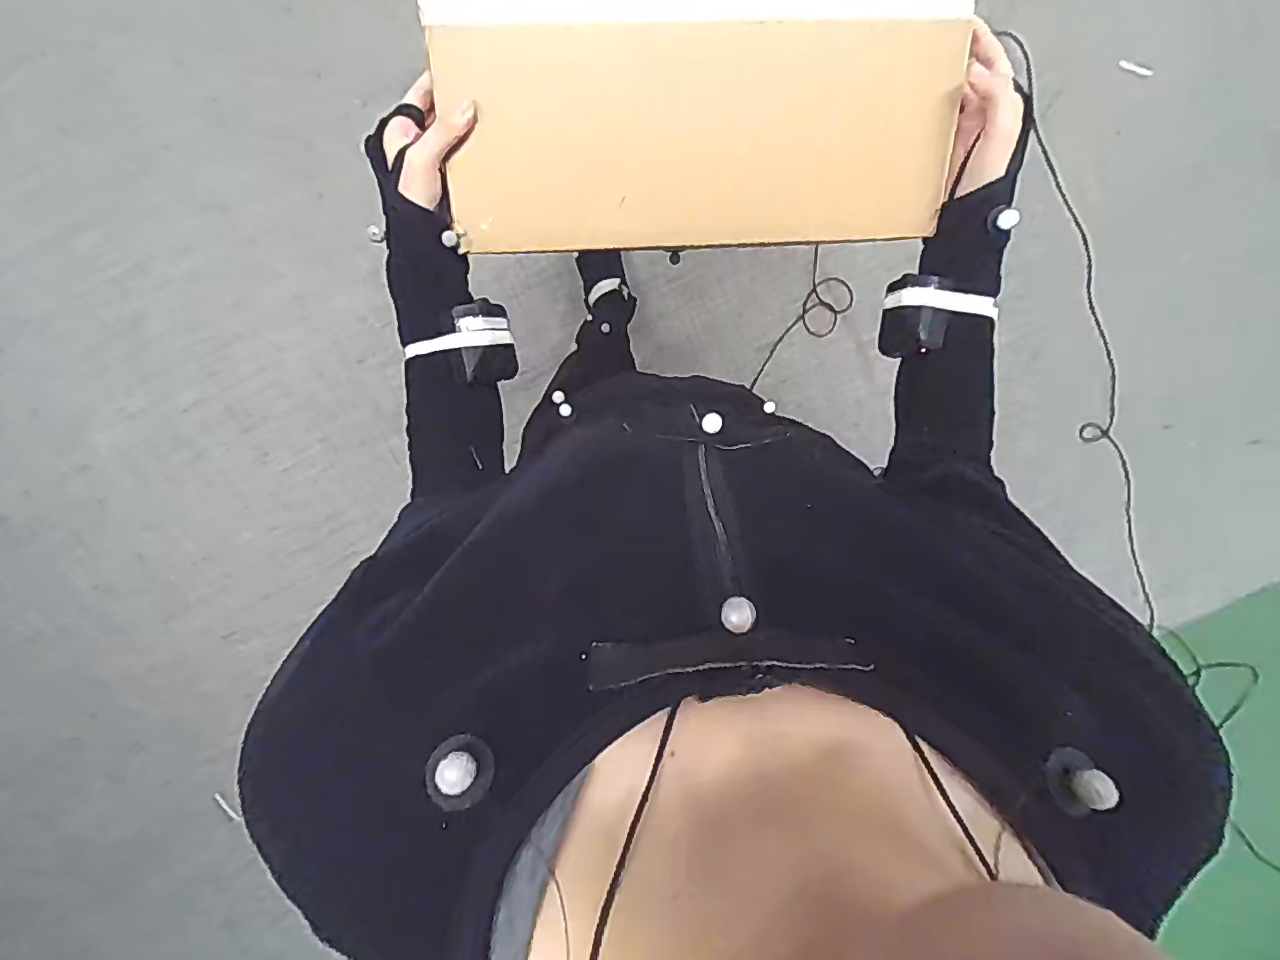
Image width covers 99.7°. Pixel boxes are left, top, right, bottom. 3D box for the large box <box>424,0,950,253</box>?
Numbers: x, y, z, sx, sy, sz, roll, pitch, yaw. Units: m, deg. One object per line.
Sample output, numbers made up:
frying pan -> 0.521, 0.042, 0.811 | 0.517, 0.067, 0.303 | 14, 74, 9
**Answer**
large box -> 0.031, -0.408, 0.542 | 0.408, 0.320, 0.320 | -4, 113, -3
